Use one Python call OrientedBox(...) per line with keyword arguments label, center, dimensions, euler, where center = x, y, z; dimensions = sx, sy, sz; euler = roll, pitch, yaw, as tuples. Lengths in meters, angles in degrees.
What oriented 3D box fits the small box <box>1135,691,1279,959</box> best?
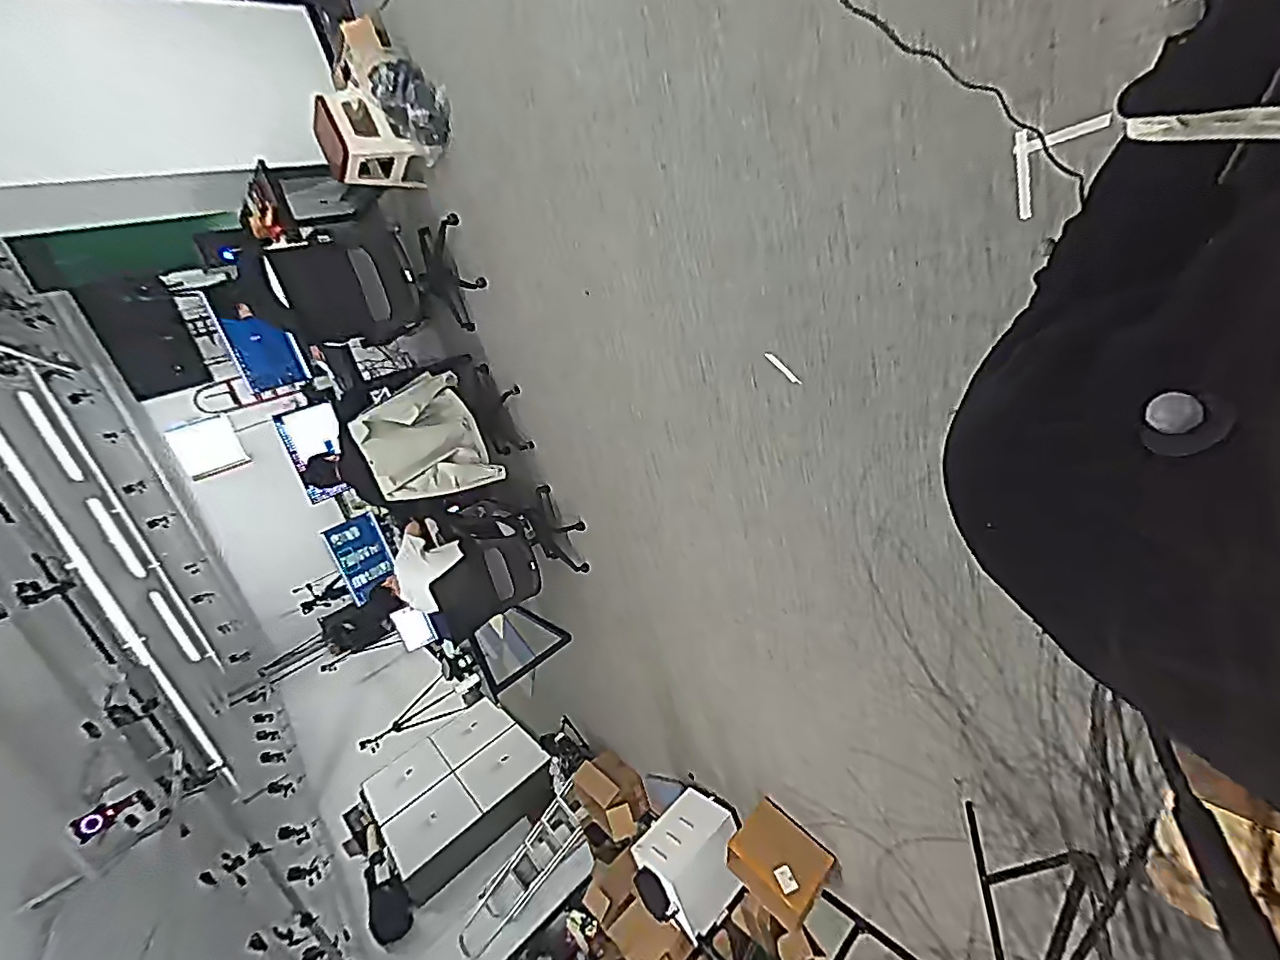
OrientedBox(label="small box", center=(0.641, 0.345, 0.541), dimensions=(0.179, 0.176, 0.168), euler=(14, 124, 48))
